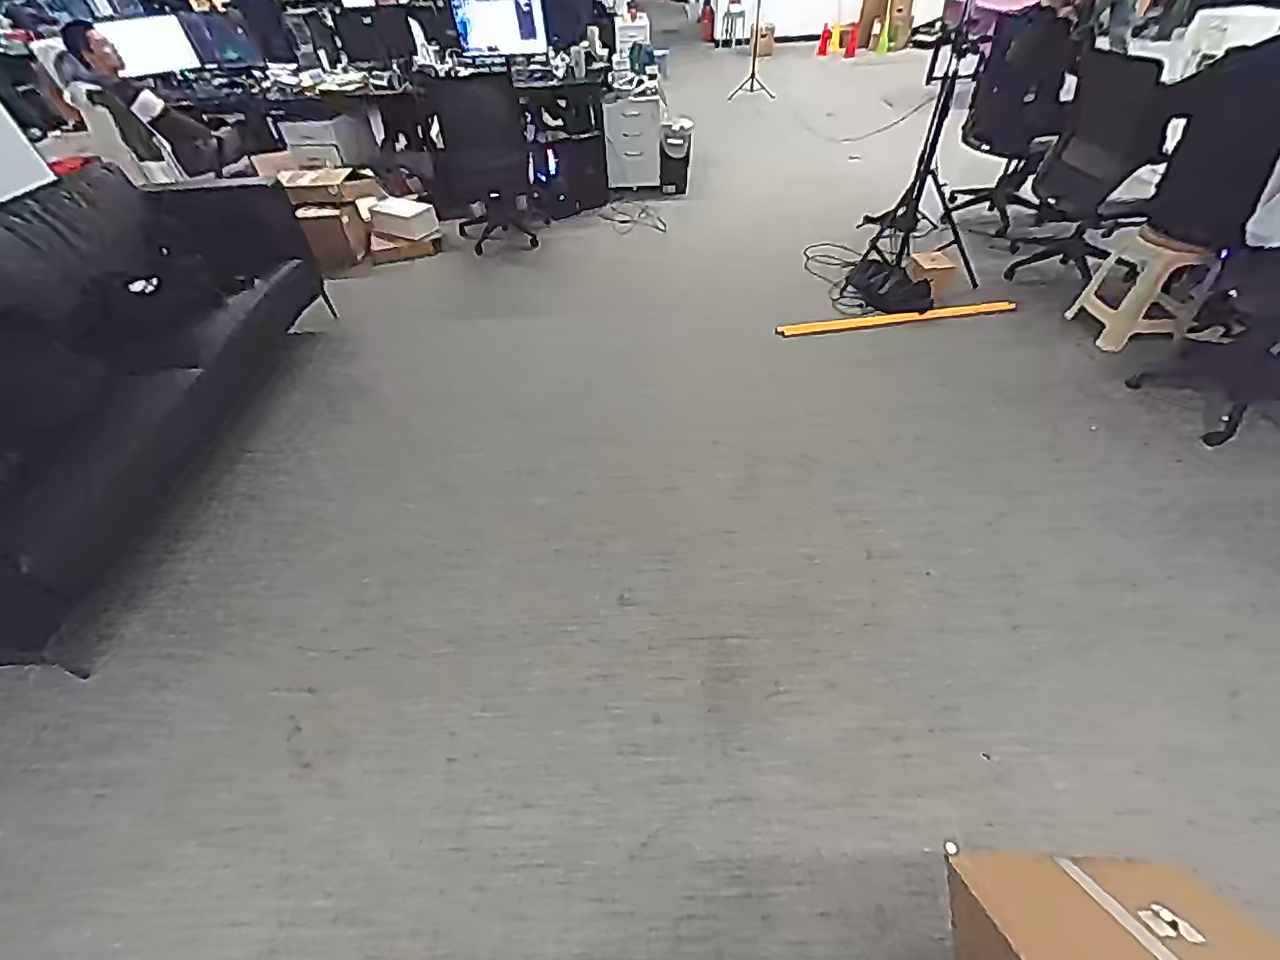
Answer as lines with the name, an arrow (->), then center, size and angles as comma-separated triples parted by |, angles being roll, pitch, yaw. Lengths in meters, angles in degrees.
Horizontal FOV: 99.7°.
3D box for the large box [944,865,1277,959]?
large box -> 0.594, 0.709, 0.591 | 0.320, 0.408, 0.320 | -1, 84, 7
